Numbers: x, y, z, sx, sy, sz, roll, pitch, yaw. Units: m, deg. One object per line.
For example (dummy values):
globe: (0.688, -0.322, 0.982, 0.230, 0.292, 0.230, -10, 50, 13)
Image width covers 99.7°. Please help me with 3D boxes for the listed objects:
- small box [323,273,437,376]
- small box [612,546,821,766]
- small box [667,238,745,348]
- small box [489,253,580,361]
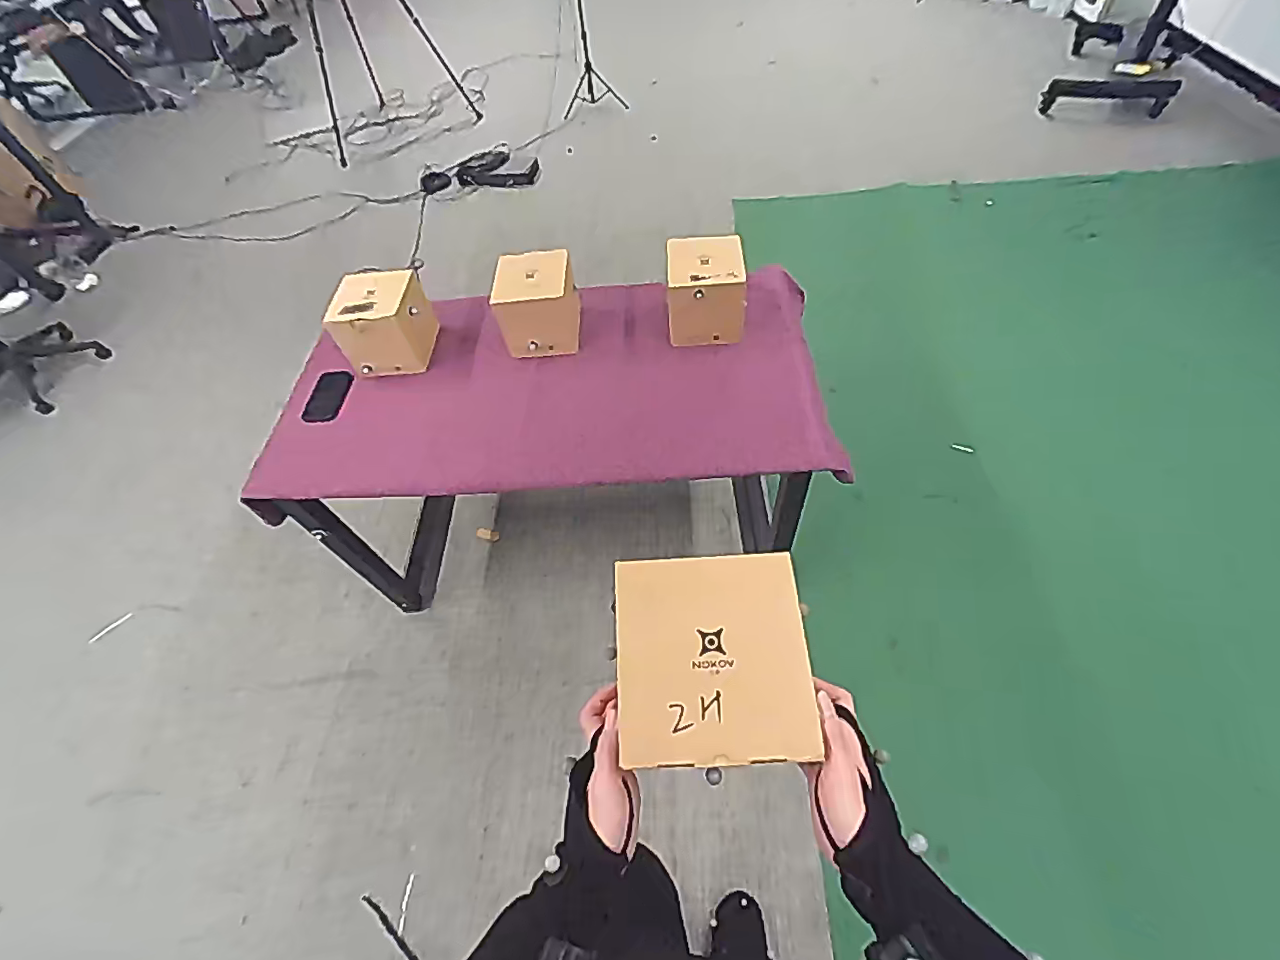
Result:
small box: (-0.602, -0.361, 1.282, 0.168, 0.176, 0.179, -4, 54, 4)
small box: (0.062, 0.179, 0.530, 0.168, 0.176, 0.179, -4, 62, 3)
small box: (0.148, -0.427, 1.240, 0.168, 0.176, 0.179, -3, 54, 6)
small box: (-0.239, -0.404, 1.272, 0.168, 0.176, 0.179, -4, 55, 5)
